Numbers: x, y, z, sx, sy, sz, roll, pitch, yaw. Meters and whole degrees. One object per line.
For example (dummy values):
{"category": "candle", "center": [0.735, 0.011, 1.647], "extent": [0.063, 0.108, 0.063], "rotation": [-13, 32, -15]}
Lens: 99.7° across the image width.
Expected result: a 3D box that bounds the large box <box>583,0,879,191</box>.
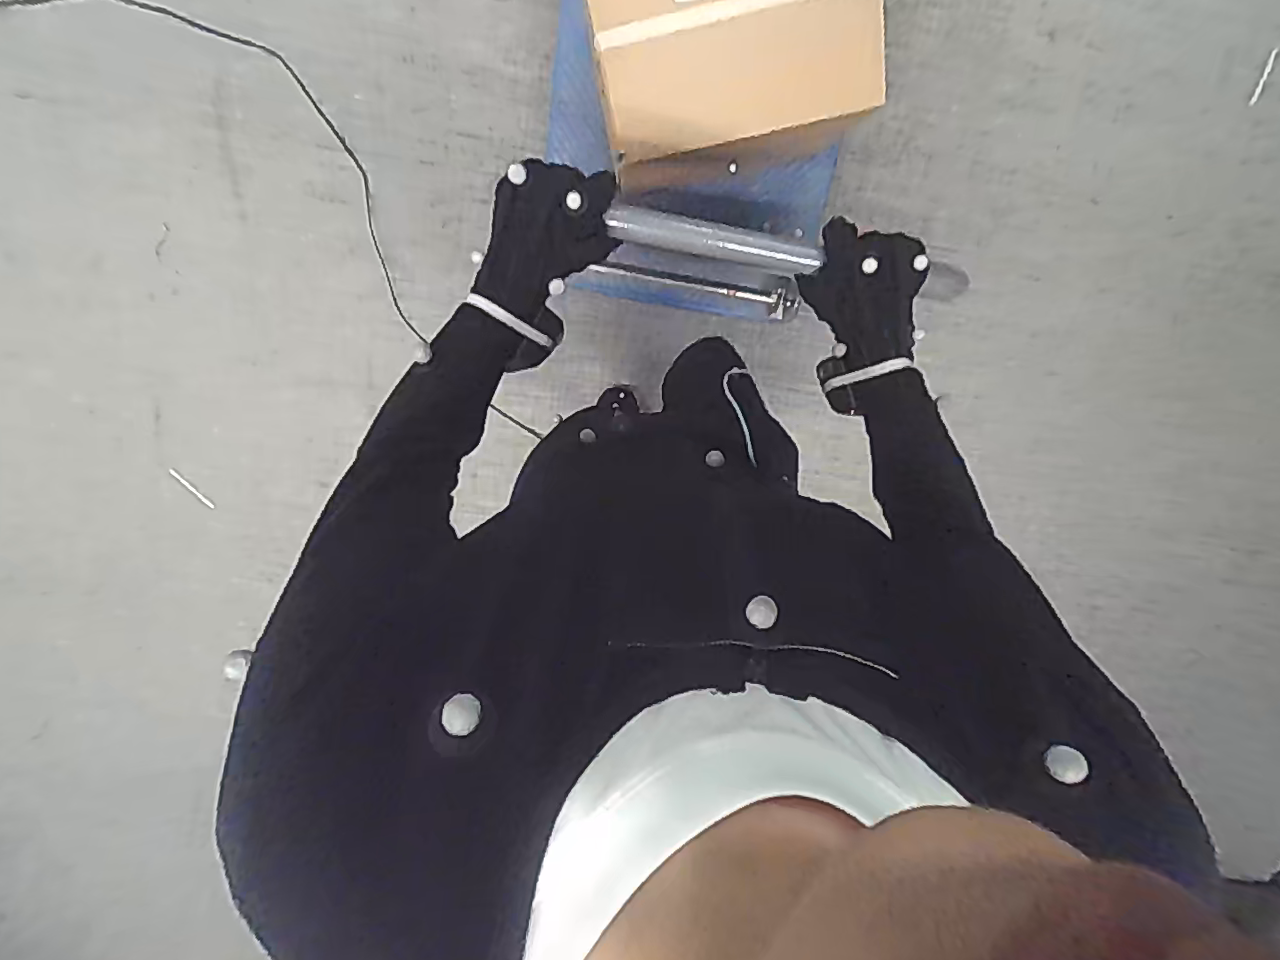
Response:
{"category": "large box", "center": [0.130, -0.719, 0.908], "extent": [0.408, 0.320, 0.320], "rotation": [-12, 109, 3]}
